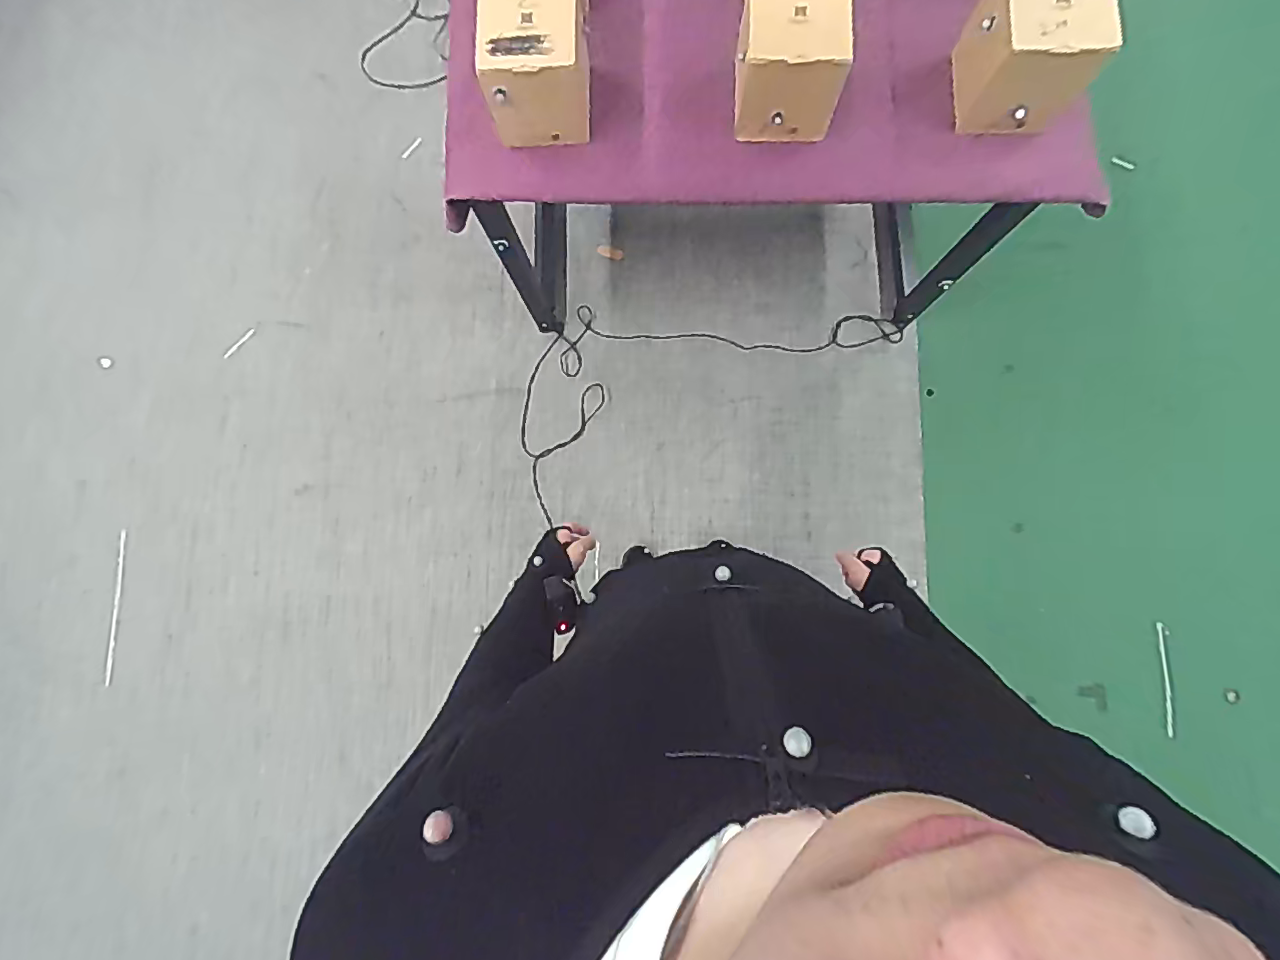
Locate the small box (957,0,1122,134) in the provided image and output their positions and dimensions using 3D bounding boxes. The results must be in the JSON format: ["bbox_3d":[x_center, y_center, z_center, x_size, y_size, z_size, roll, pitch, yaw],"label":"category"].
[{"bbox_3d":[0.668,-0.737,0.927,0.168,0.176,0.179,2,82,4],"label":"small box"}]

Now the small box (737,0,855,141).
[{"bbox_3d":[0.265,-0.738,0.948,0.168,0.176,0.179,2,82,2],"label":"small box"}]

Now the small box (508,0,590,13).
[{"bbox_3d":[-0.180,-1.011,0.996,0.168,0.176,0.179,1,84,2],"label":"small box"}]
